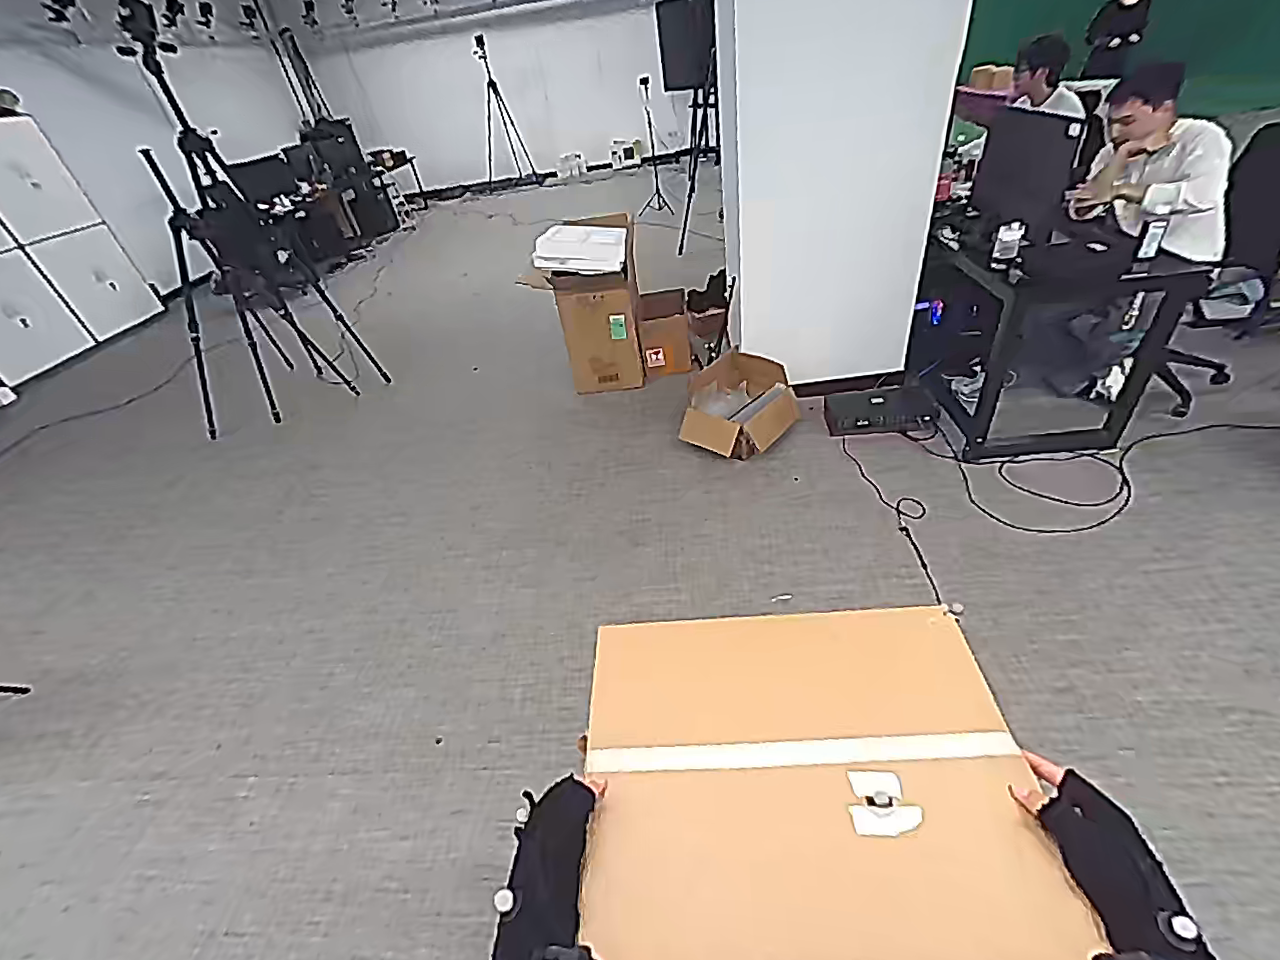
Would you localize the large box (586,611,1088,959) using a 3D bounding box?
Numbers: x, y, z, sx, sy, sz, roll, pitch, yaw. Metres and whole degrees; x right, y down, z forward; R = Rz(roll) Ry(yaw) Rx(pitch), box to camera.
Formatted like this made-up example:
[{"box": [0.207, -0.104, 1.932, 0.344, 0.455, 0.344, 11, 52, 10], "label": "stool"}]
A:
[{"box": [0.167, 0.385, 0.636, 0.408, 0.320, 0.320, -5, 42, 5], "label": "large box"}]
